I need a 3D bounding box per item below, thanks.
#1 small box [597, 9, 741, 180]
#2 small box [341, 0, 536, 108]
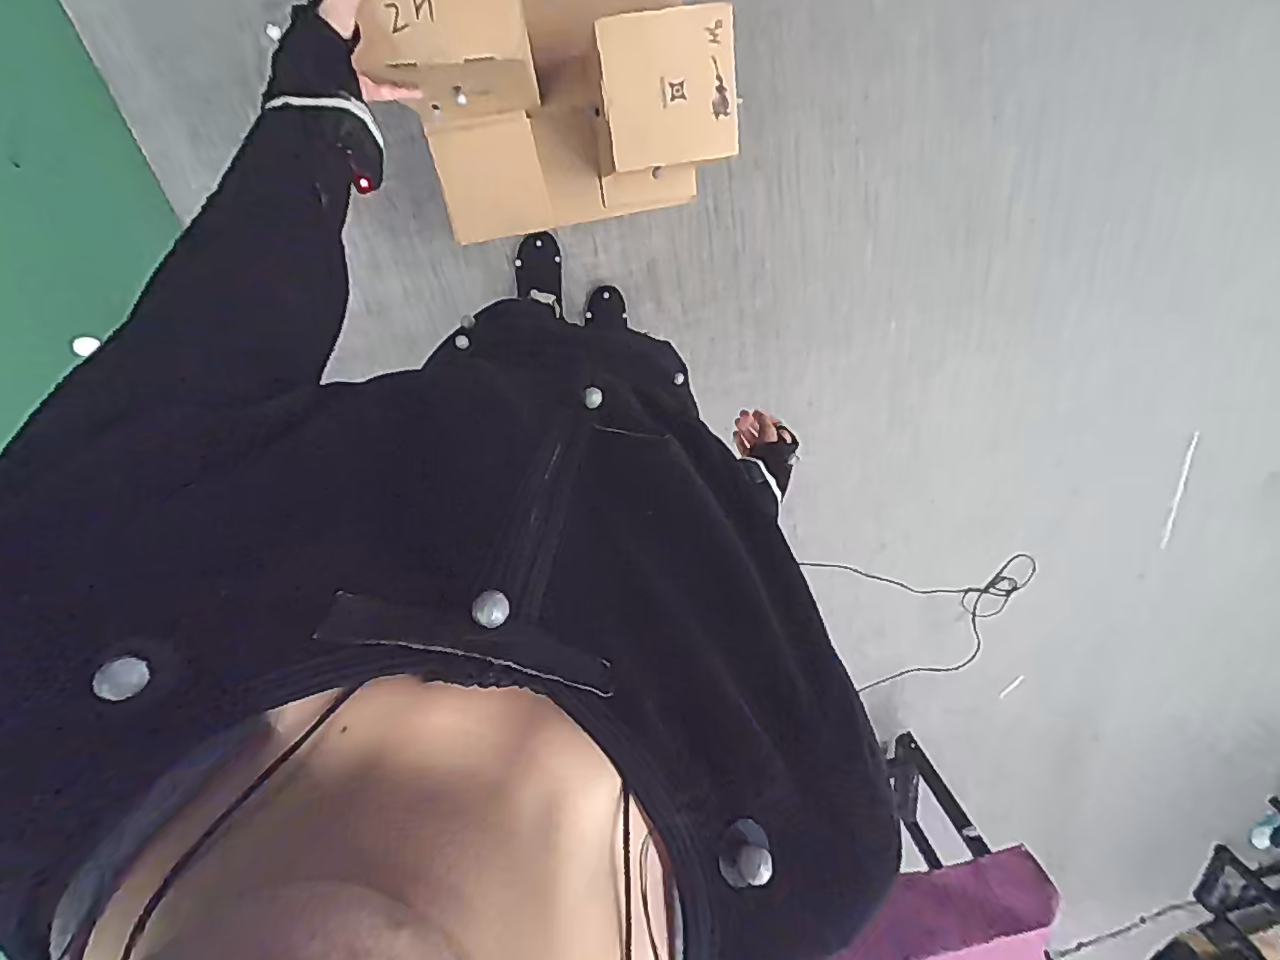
[{"bbox_3d":[0.035,-0.527,0.763,0.179,0.176,0.168,-10,119,-3],"label":"small box"},{"bbox_3d":[-0.204,-0.508,0.558,0.168,0.176,0.179,-7,117,-3],"label":"small box"}]
